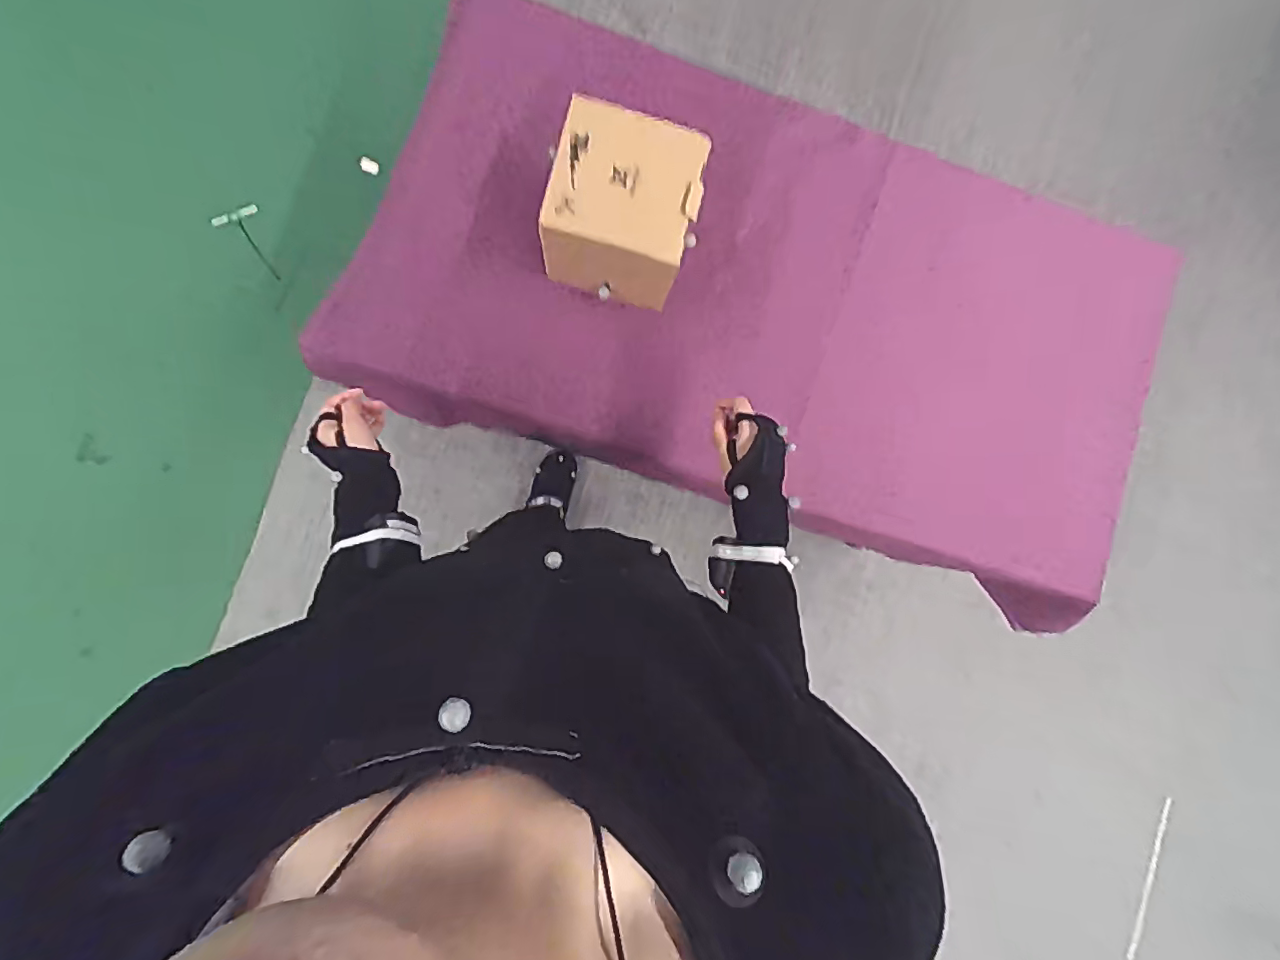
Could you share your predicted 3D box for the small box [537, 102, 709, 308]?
[{"bbox_3d":[-0.026,-0.351,0.730,0.179,0.176,0.168,16,87,-5],"label":"small box"}]
